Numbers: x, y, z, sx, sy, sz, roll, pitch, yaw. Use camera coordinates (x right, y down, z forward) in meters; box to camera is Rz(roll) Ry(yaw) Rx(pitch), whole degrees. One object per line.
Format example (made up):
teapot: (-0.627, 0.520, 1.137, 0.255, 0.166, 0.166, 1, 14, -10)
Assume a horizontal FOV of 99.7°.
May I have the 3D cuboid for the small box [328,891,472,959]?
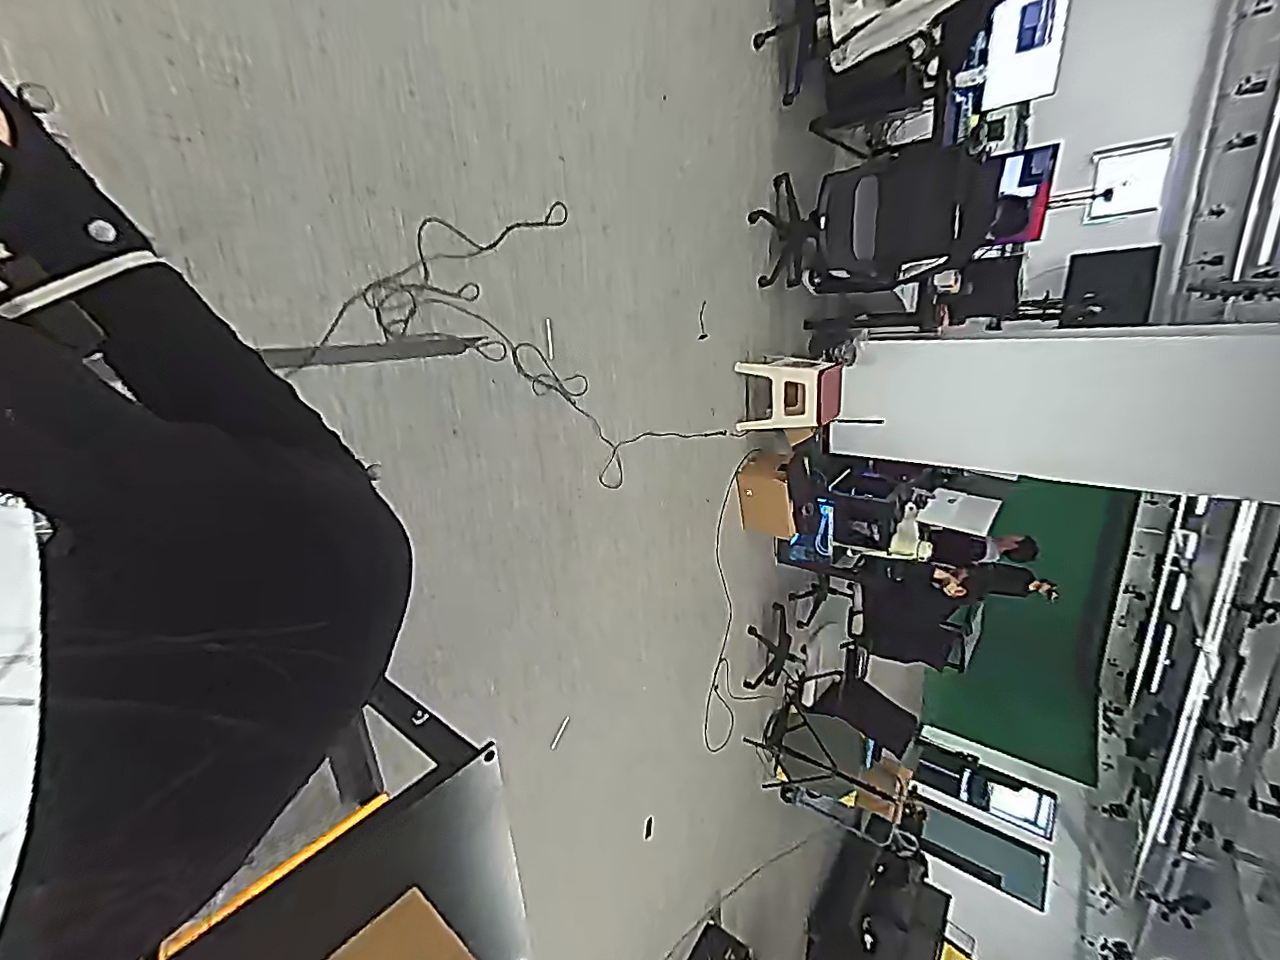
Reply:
small box: (-0.381, 0.814, 0.852, 0.179, 0.176, 0.168, -21, 114, -47)
